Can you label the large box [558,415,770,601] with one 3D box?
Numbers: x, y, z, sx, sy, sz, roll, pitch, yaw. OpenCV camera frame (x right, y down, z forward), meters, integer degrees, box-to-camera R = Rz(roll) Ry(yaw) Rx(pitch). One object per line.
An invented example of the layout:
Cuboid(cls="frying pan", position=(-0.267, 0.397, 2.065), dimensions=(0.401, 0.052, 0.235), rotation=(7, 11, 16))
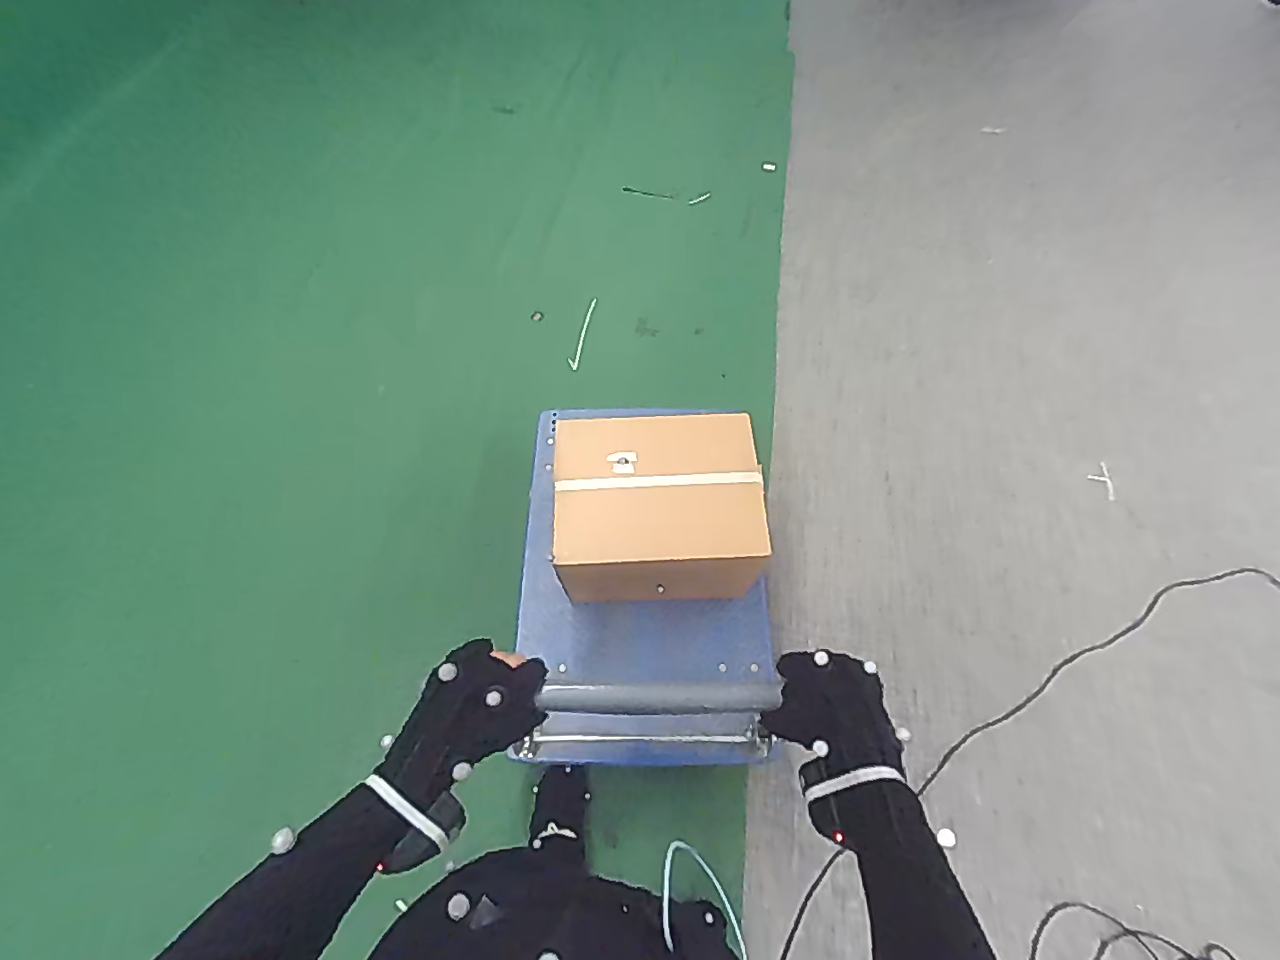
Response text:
Cuboid(cls="large box", position=(0.041, 0.076, 1.206), dimensions=(0.408, 0.320, 0.320), rotation=(-3, 64, -1))
